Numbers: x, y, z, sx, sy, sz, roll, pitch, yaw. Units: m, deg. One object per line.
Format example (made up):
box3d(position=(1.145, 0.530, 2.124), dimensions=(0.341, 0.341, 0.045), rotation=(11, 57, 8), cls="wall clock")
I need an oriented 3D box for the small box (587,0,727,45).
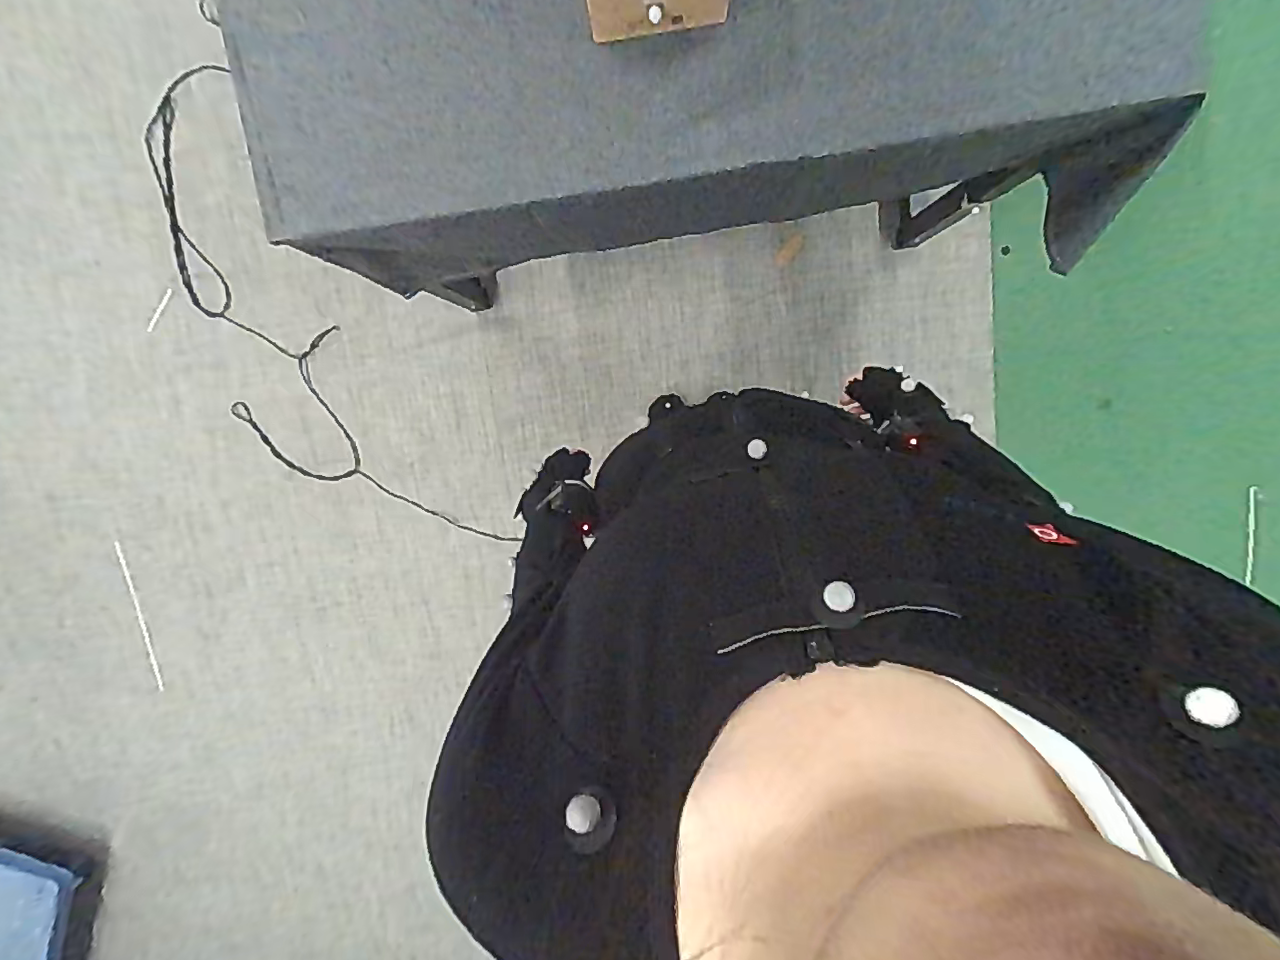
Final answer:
box3d(position=(0.011, -0.627, 0.585), dimensions=(0.168, 0.176, 0.179), rotation=(-6, 98, 4), cls="small box")
